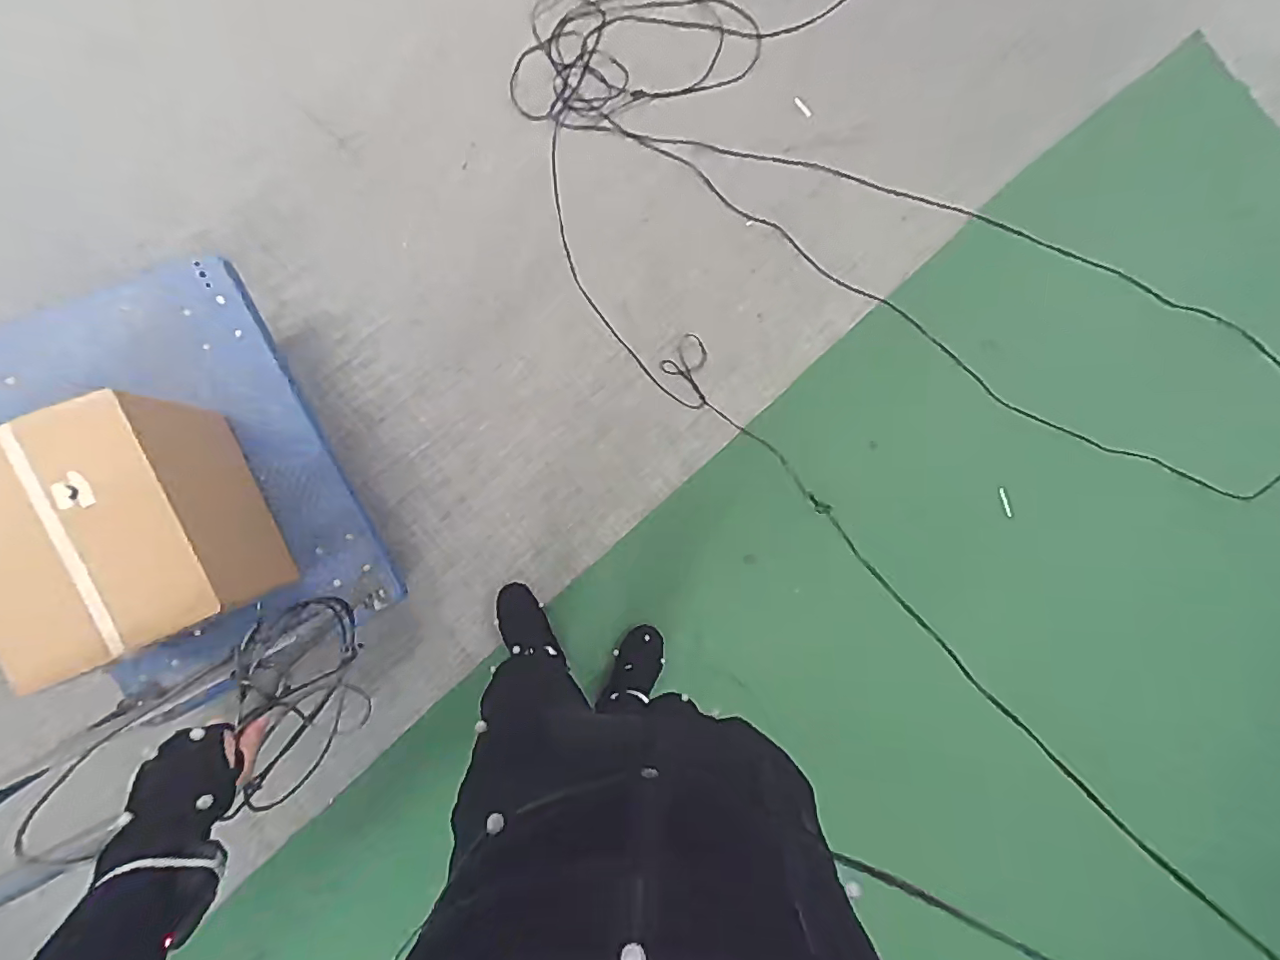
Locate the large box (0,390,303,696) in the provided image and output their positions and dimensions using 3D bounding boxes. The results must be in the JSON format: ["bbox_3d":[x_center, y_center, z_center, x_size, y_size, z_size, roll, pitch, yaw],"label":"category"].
[{"bbox_3d":[-0.917,0.099,0.992,0.320,0.320,0.408,-25,93,-10],"label":"large box"}]
